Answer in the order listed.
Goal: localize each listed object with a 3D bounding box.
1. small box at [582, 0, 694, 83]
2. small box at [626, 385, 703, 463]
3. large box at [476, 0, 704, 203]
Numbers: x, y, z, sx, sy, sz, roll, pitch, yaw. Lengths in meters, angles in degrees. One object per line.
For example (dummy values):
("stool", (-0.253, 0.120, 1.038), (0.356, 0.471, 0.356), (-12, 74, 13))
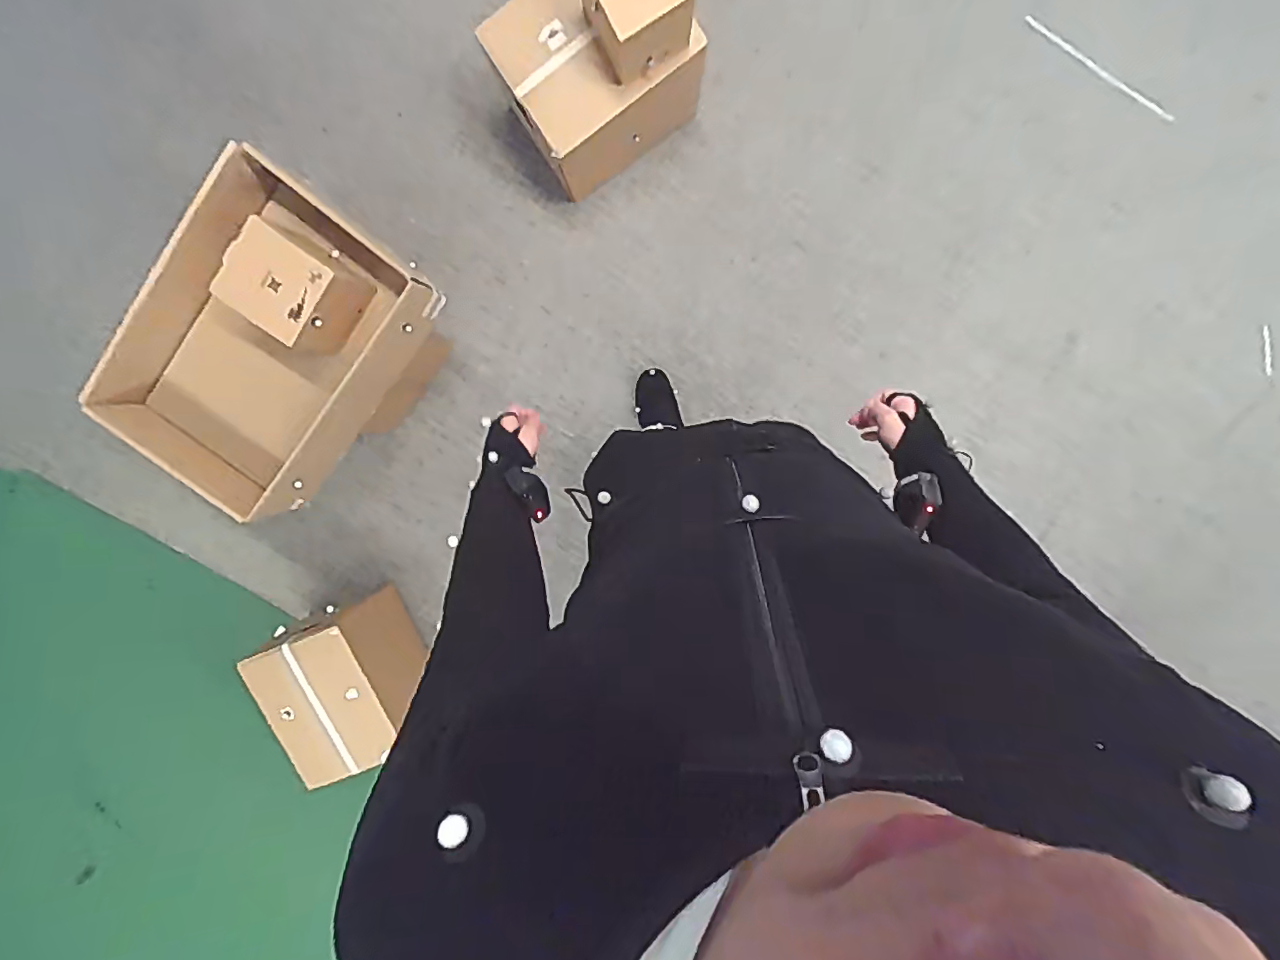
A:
("small box", (-0.011, -0.935, 1.053), (0.168, 0.176, 0.179), (-28, 101, 6))
("small box", (0.070, -0.158, 1.530), (0.179, 0.176, 0.168), (28, 98, 4))
("large box", (-0.104, -0.963, 1.298), (0.408, 0.320, 0.320), (-35, 98, 7))
